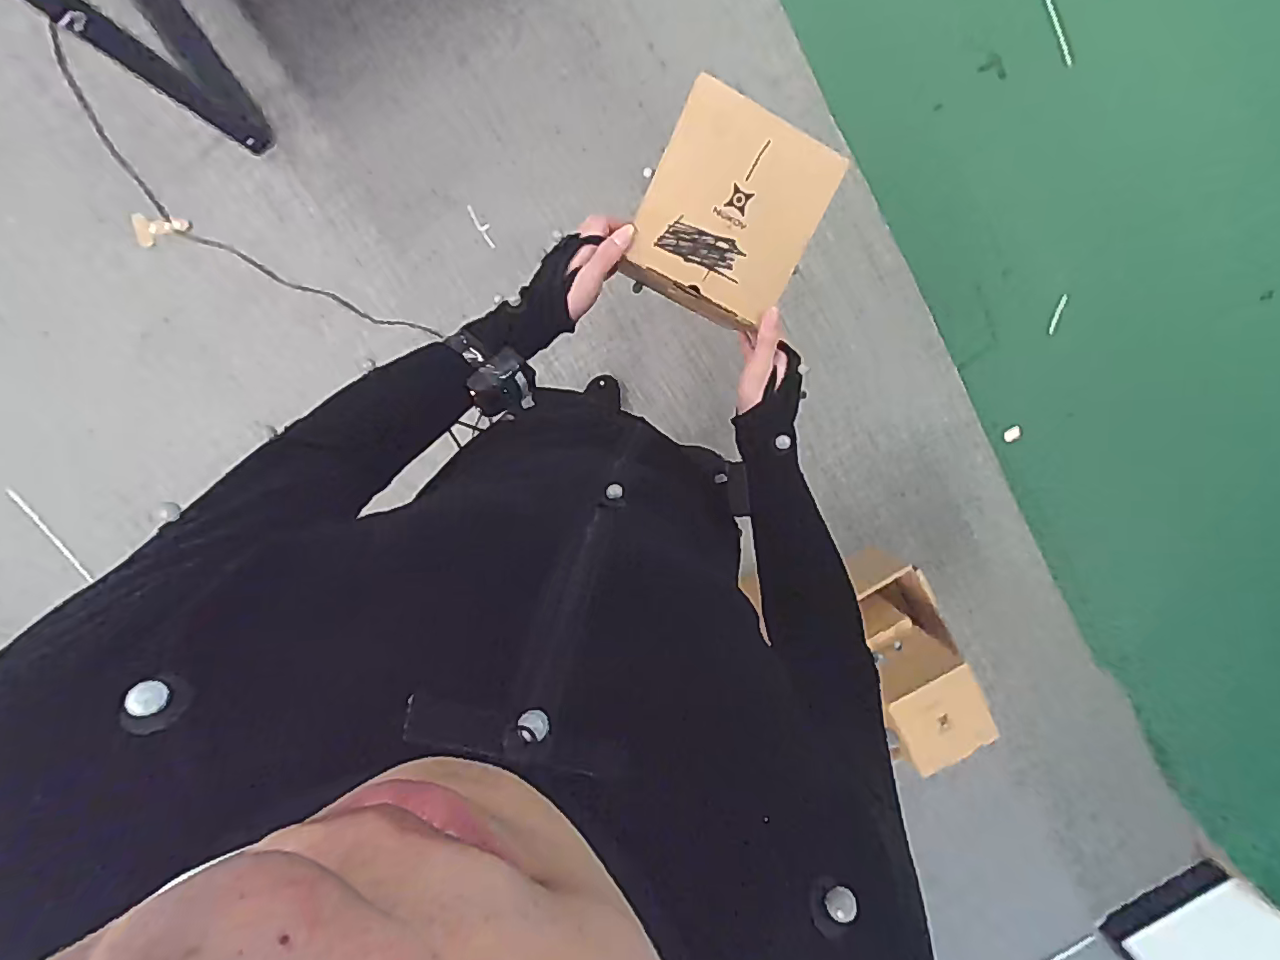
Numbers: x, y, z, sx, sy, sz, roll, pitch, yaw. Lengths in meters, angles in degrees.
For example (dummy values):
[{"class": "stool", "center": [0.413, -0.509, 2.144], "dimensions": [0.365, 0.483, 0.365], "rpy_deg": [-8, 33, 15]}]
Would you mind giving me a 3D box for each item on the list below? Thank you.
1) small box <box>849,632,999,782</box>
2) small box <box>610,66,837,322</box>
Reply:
[{"class": "small box", "center": [0.546, 0.433, 1.059], "dimensions": [0.168, 0.176, 0.179], "rpy_deg": [-28, 100, 0]}, {"class": "small box", "center": [0.077, -0.288, 0.595], "dimensions": [0.168, 0.176, 0.179], "rpy_deg": [23, 102, -9]}]
